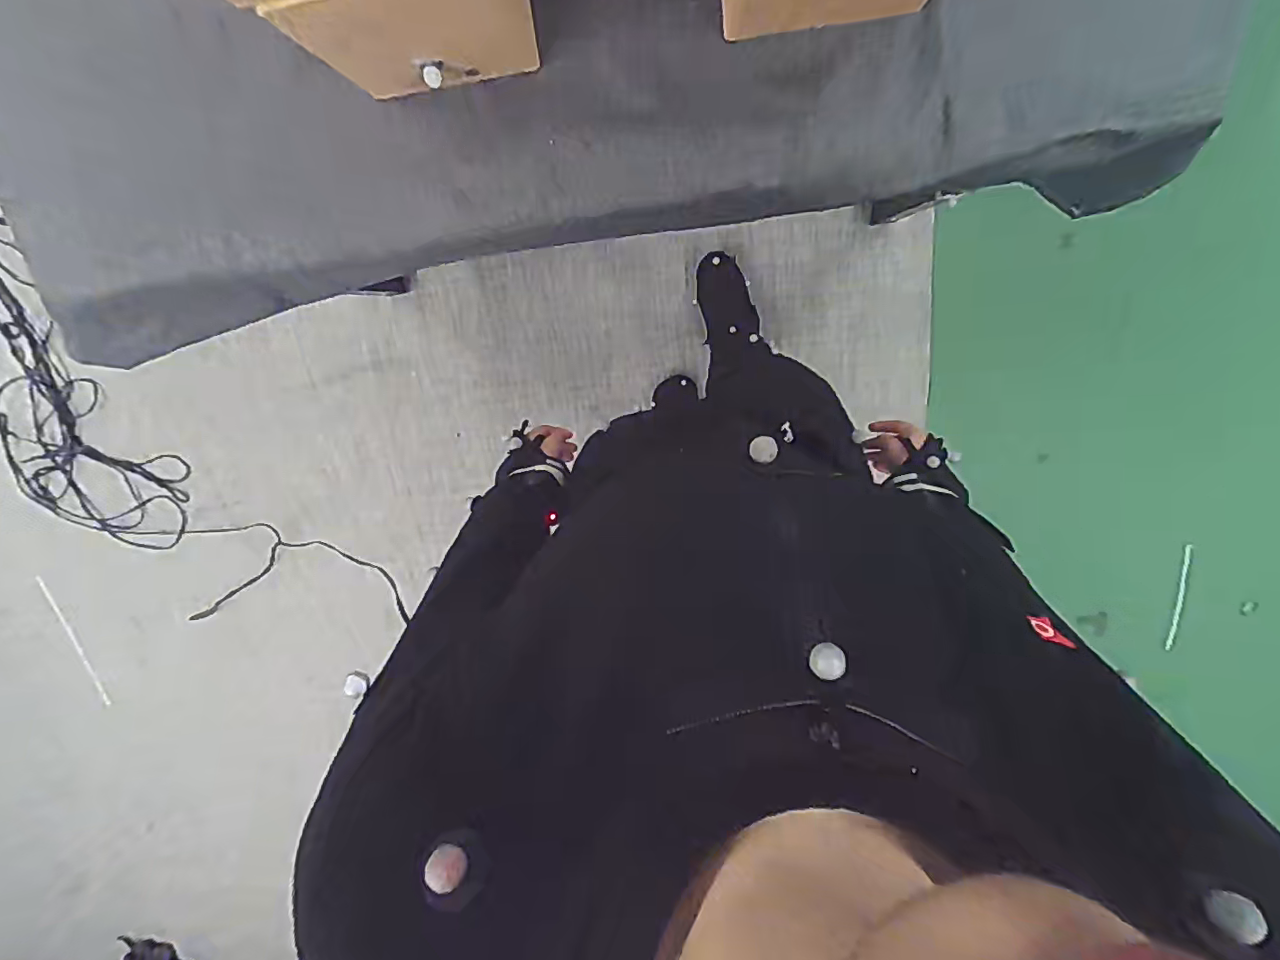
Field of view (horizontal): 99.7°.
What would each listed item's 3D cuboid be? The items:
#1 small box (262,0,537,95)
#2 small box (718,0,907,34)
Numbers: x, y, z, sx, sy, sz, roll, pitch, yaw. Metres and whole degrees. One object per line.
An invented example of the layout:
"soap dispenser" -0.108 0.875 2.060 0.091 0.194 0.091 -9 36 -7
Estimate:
"small box" -0.190 -0.440 0.419 0.168 0.176 0.179 -6 108 6
"small box" 0.145 -0.466 0.392 0.179 0.176 0.168 -5 107 5
